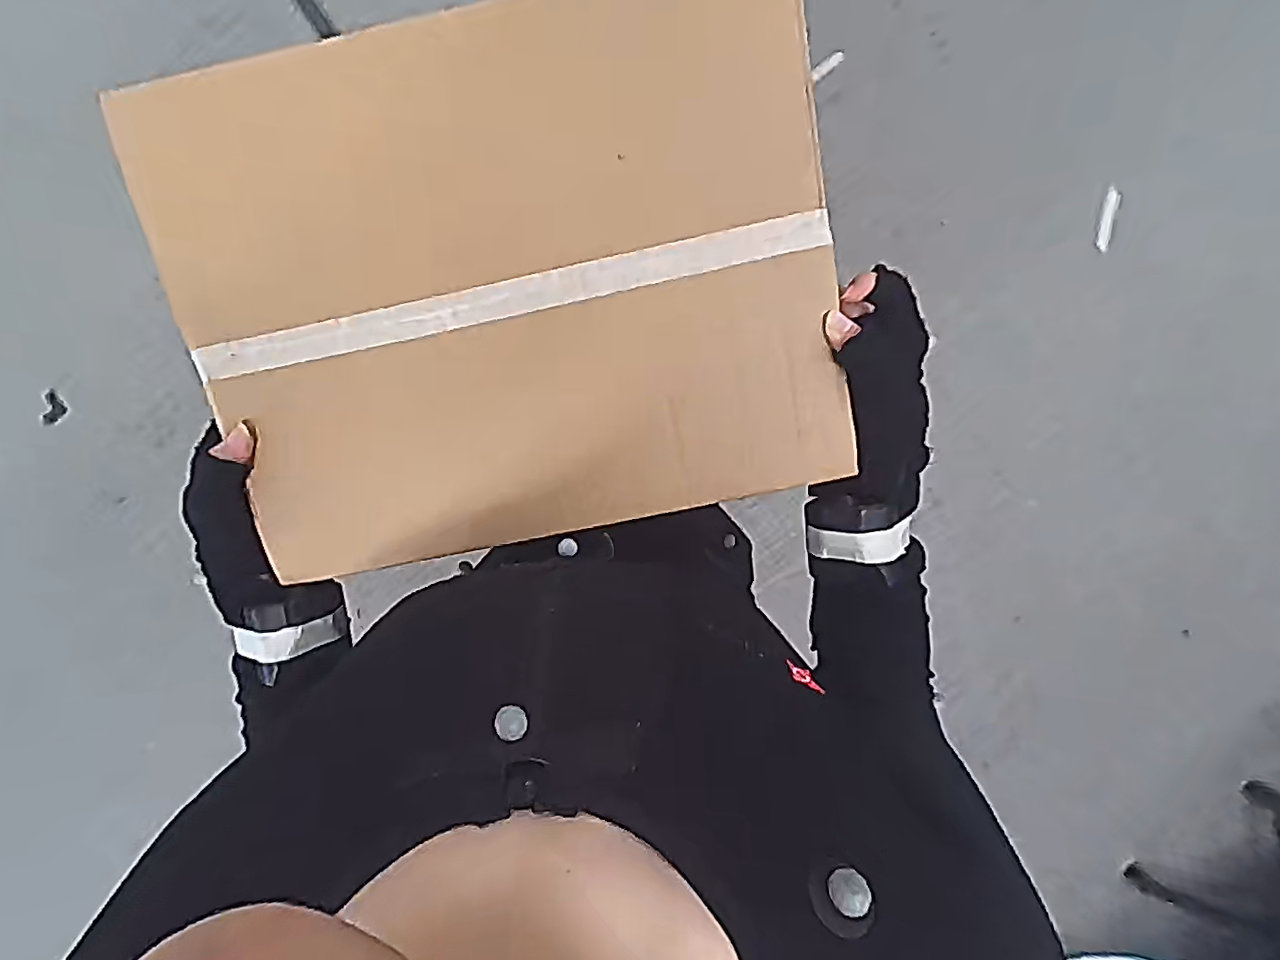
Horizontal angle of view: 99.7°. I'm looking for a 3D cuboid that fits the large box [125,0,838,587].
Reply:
[{"bbox_3d":[-0.087,-0.144,0.494,0.408,0.320,0.320,-12,102,3],"label":"large box"}]
